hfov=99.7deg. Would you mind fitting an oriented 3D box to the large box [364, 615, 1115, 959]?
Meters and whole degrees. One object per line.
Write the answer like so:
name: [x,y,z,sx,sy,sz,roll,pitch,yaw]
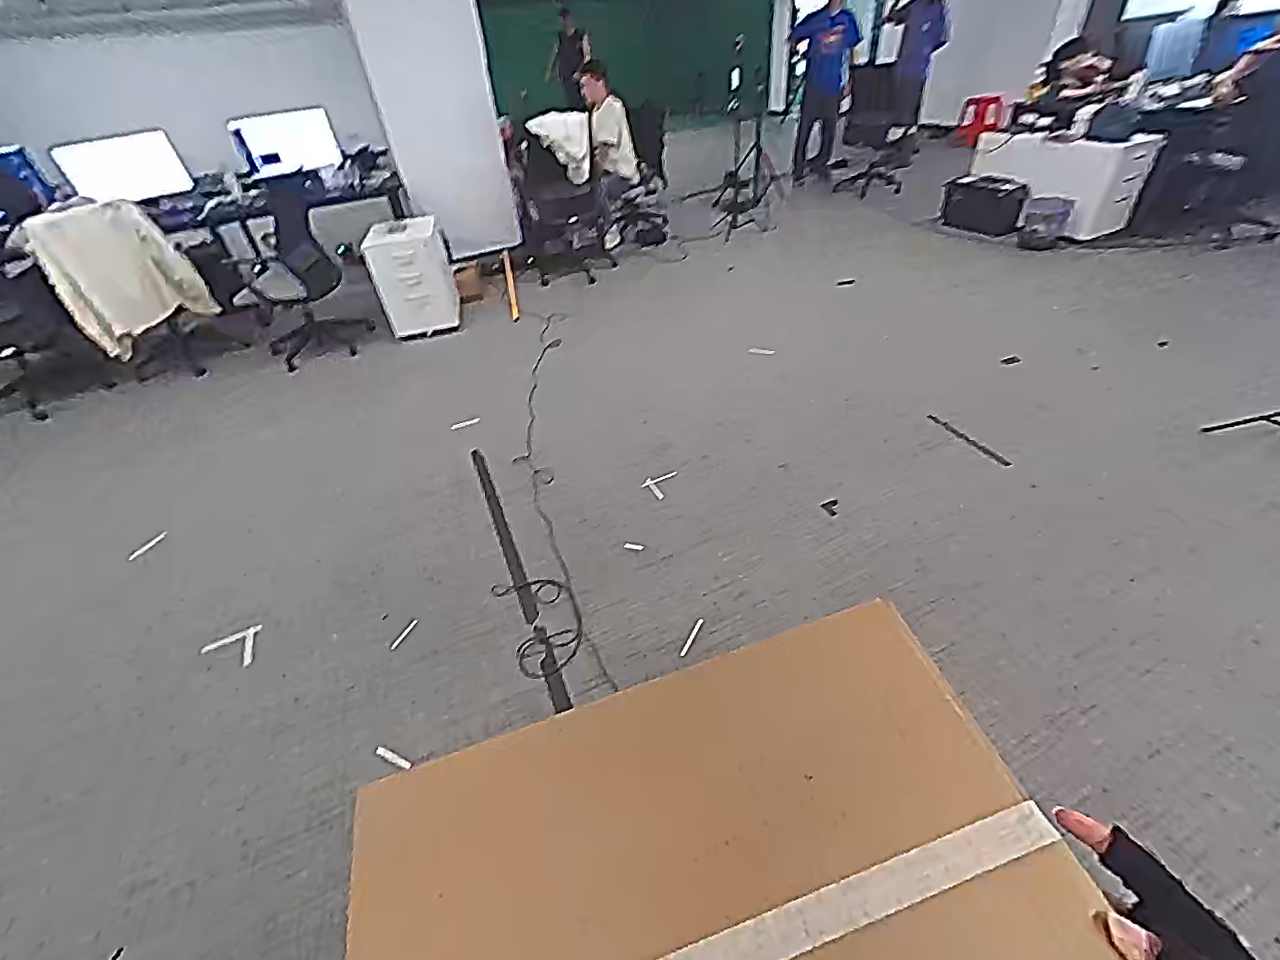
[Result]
large box: [0.064,0.367,0.409,0.408,0.320,0.320,-18,47,-6]
